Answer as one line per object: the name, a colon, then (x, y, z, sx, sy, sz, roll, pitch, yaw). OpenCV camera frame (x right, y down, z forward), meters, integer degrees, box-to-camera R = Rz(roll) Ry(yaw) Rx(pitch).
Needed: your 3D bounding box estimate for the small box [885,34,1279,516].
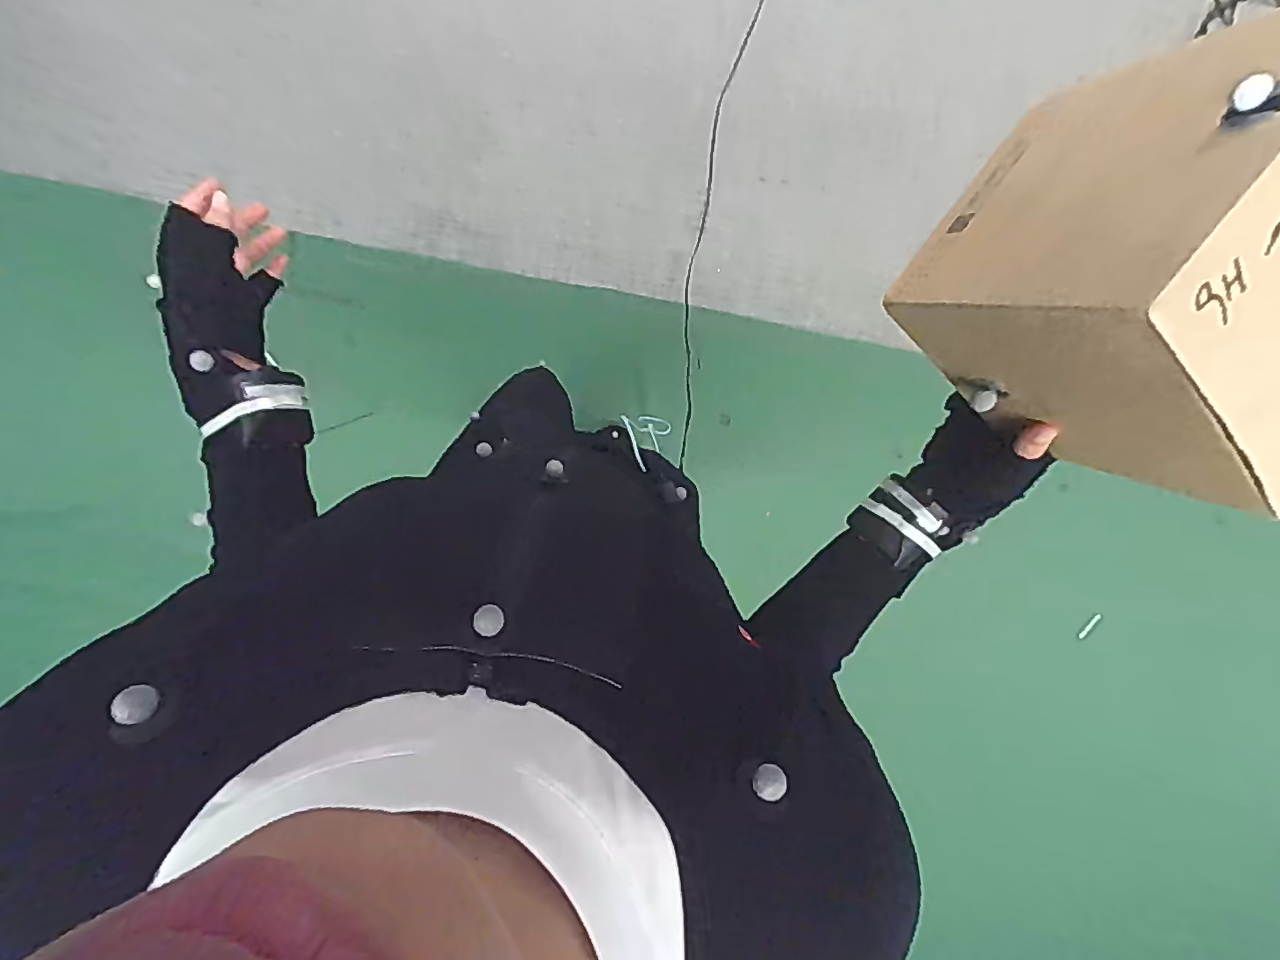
small box: (0.291, -0.114, 0.315, 0.179, 0.176, 0.168, 35, 96, -24)
